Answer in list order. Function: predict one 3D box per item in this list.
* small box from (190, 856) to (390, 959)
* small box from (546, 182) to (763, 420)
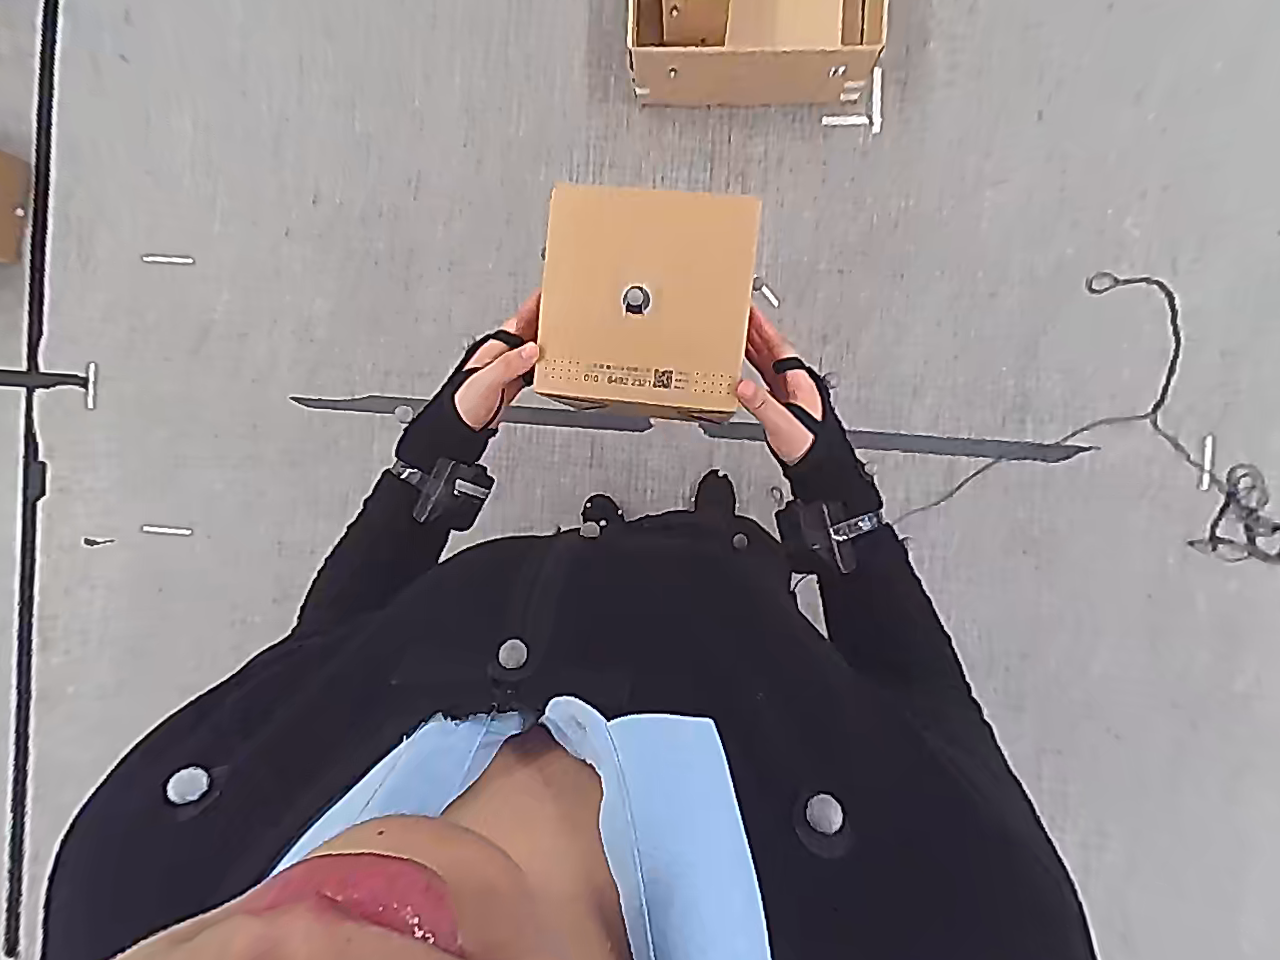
[{"bbox_3d":[-0.456,0.653,0.717,0.168,0.176,0.179,8,92,3],"label":"small box"},{"bbox_3d":[0.015,-0.148,0.503,0.168,0.179,0.176,7,94,6],"label":"small box"}]
